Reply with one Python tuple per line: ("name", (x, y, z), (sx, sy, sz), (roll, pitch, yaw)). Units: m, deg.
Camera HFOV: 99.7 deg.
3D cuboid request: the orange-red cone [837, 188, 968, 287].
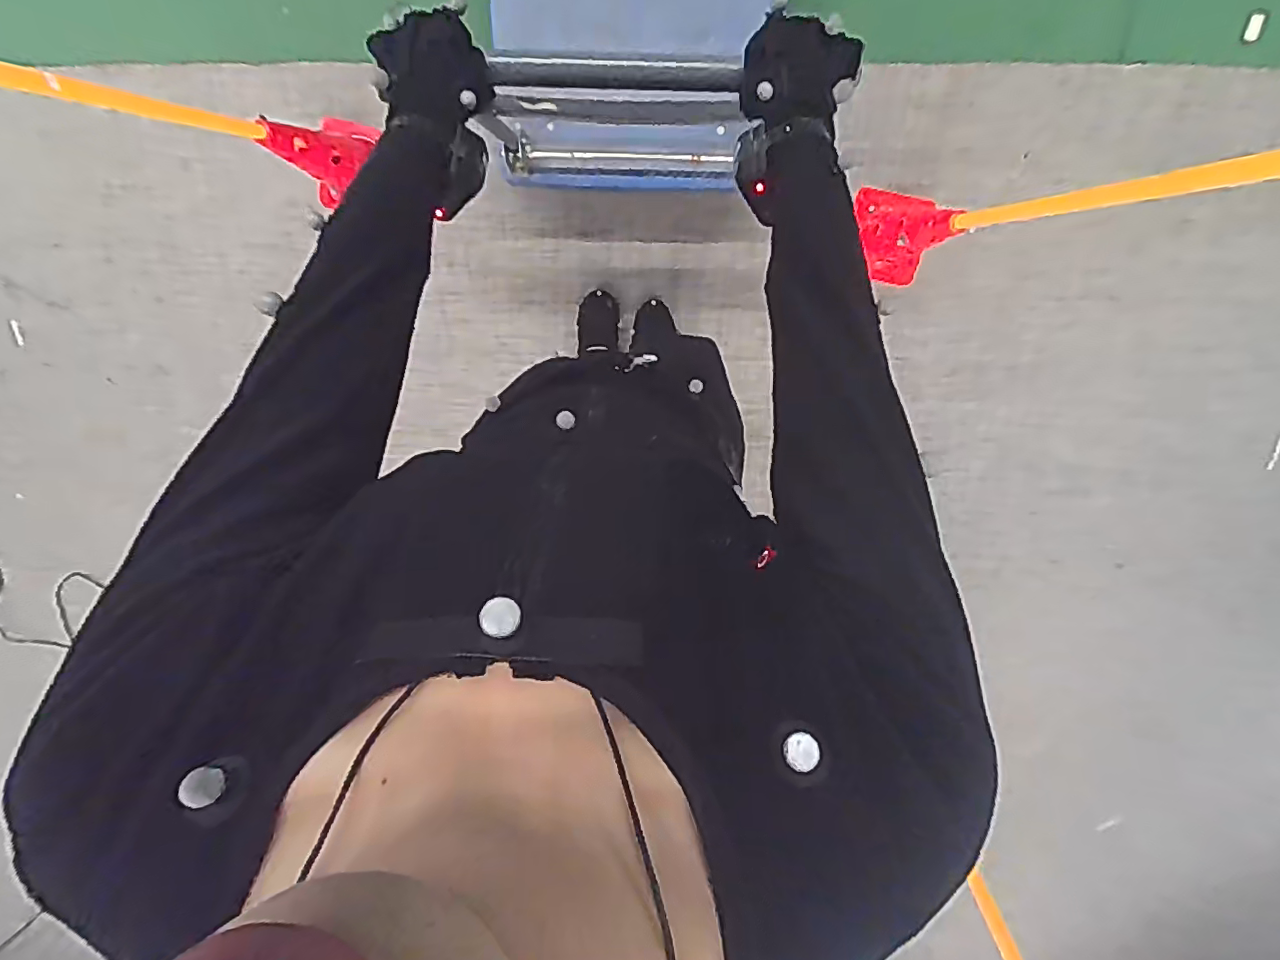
("orange-red cone", (0.596, -0.534, 1.163), (0.198, 0.360, 0.199), (12, 110, -2))
